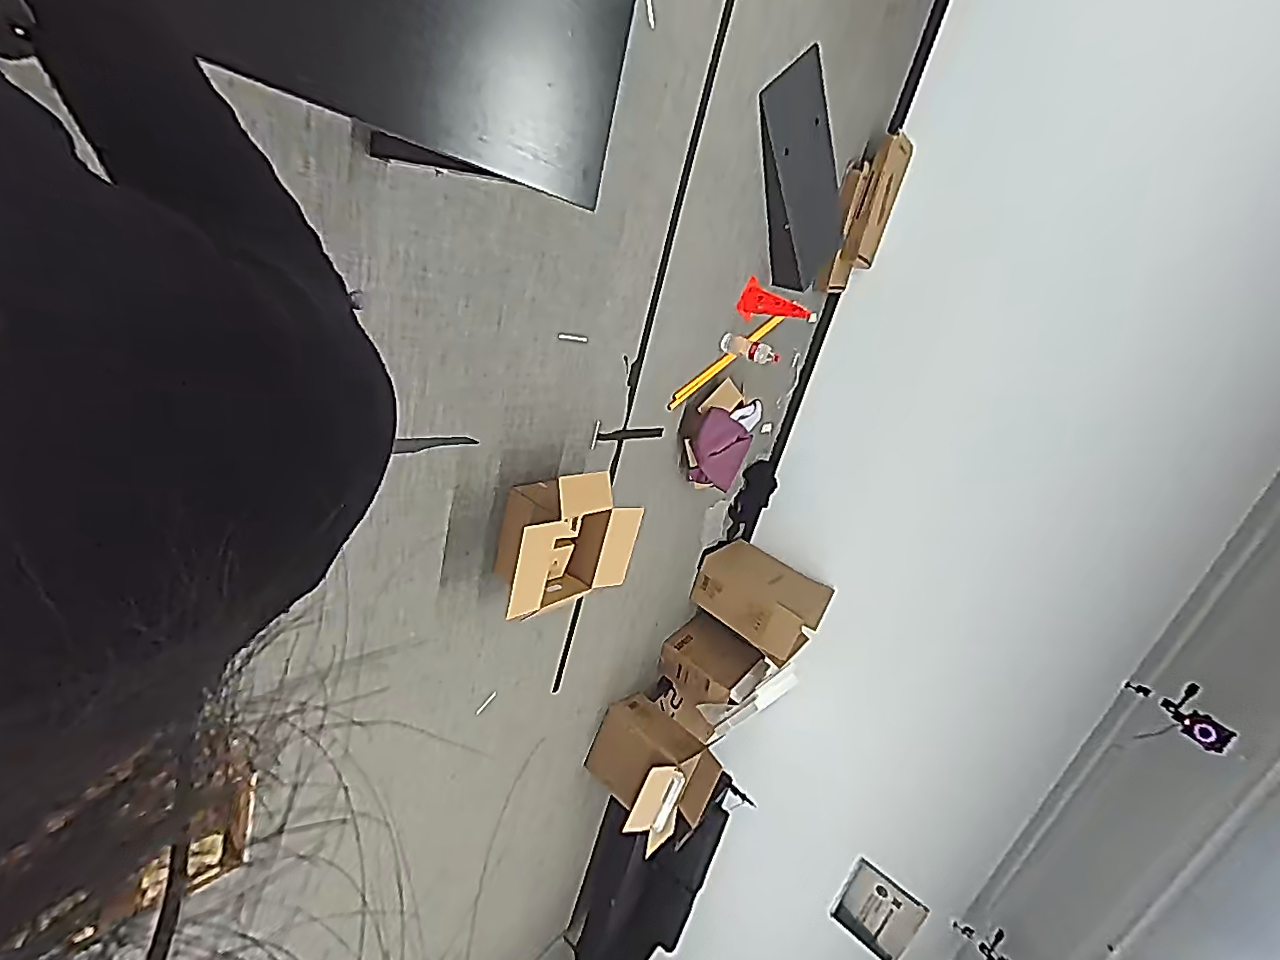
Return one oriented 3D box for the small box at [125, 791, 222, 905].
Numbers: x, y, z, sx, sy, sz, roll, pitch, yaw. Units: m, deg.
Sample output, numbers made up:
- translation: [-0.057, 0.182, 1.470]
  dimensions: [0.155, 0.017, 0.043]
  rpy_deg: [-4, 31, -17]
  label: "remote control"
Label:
- translation: [-1.335, 1.039, 1.547]
  dimensions: [0.179, 0.176, 0.168]
  rpy_deg: [-4, 115, -53]
  label: "small box"
